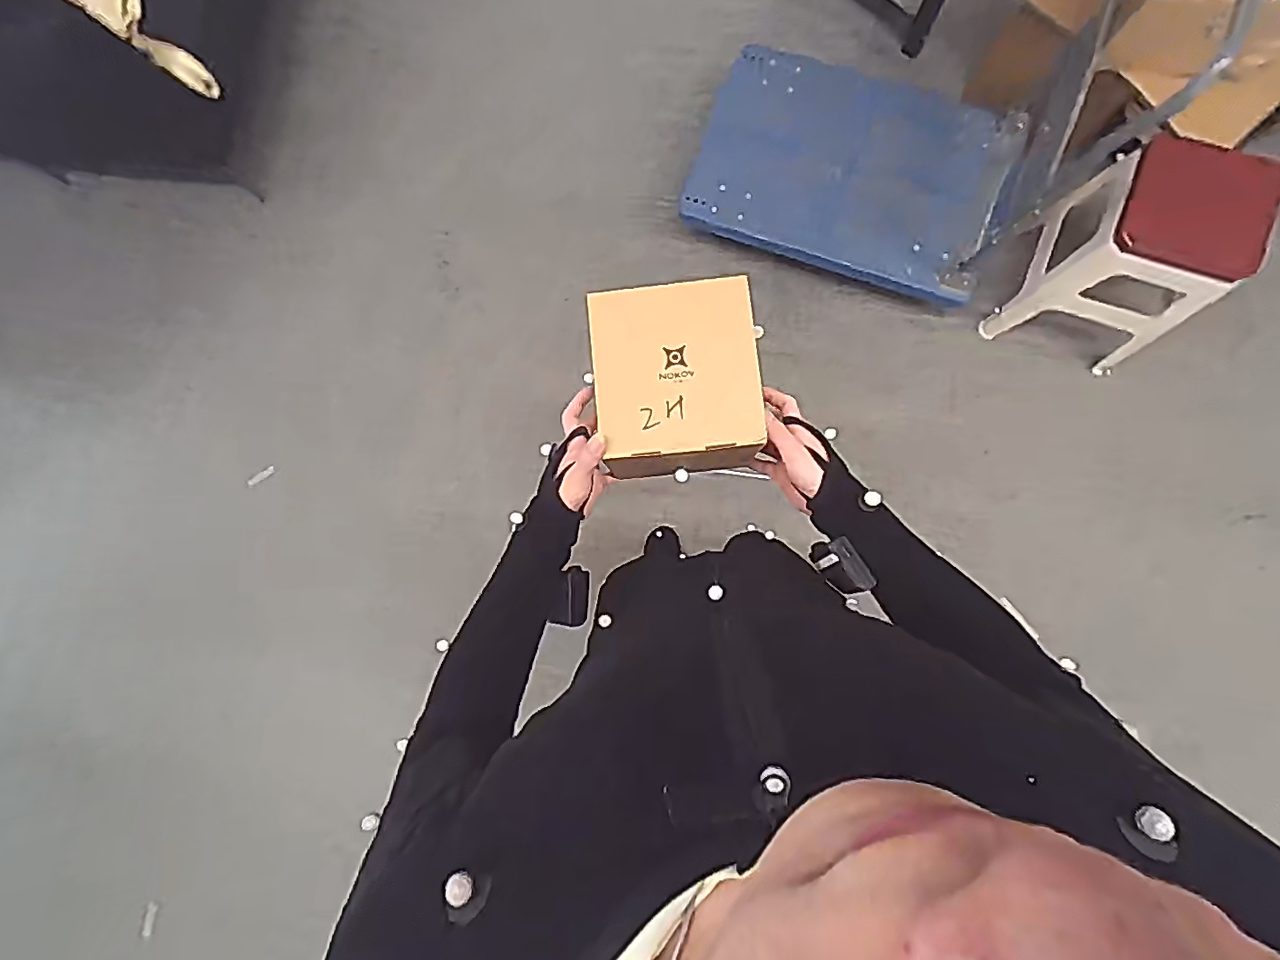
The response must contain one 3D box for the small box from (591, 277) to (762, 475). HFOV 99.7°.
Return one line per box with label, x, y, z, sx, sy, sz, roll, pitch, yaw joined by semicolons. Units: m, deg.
small box;0.039;-0.108;0.626;0.168;0.176;0.179;-5;83;3
